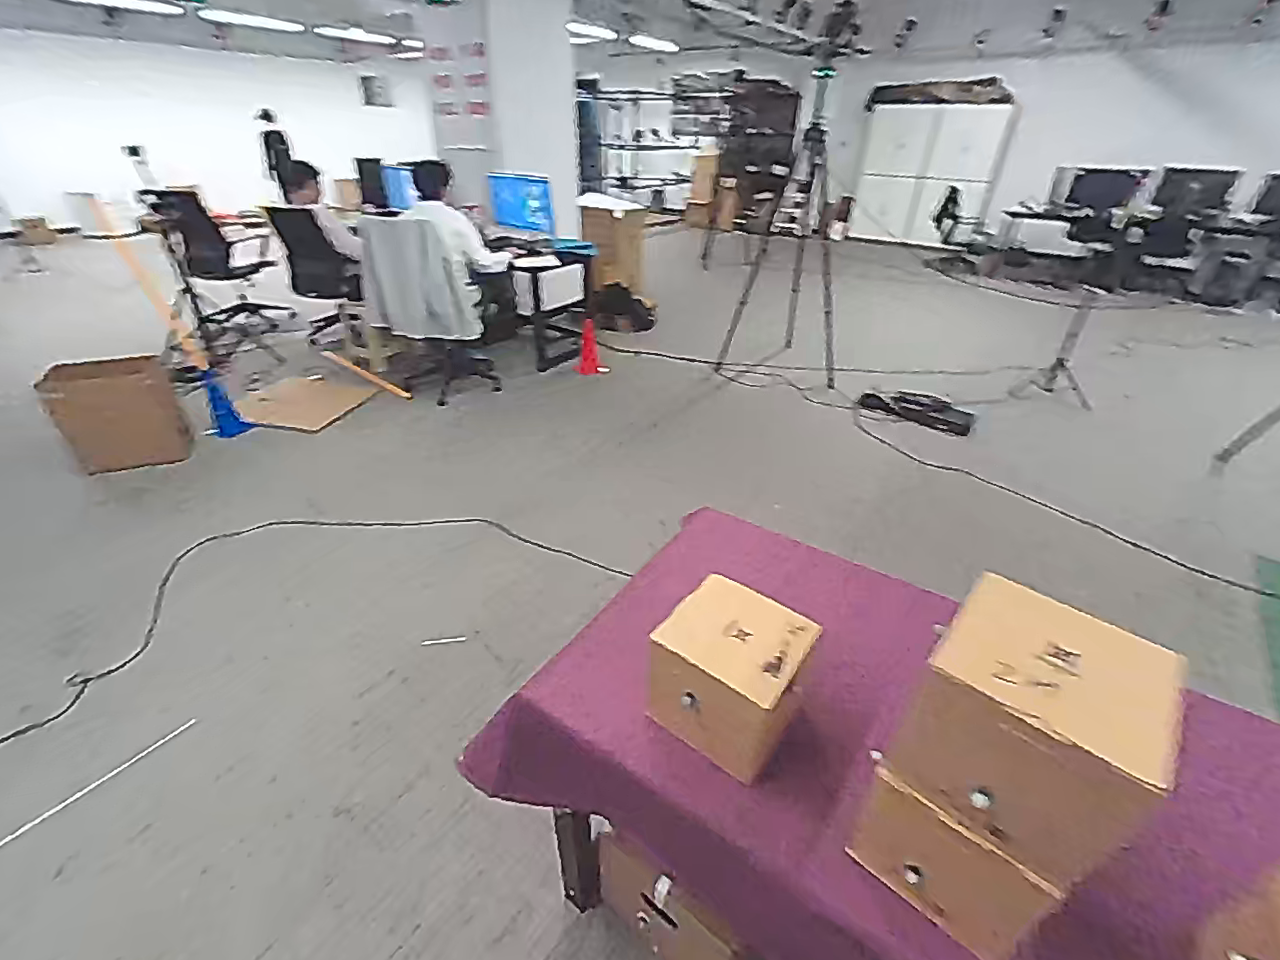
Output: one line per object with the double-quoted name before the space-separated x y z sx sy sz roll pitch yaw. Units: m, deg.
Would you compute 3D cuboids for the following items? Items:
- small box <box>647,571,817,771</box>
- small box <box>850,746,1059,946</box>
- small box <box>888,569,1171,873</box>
"small box" 0.124 0.267 0.767 0.179 0.176 0.168 23 40 31
"small box" 0.364 0.368 0.622 0.168 0.176 0.179 27 42 34
"small box" 0.371 0.227 0.536 0.168 0.176 0.179 27 42 35
